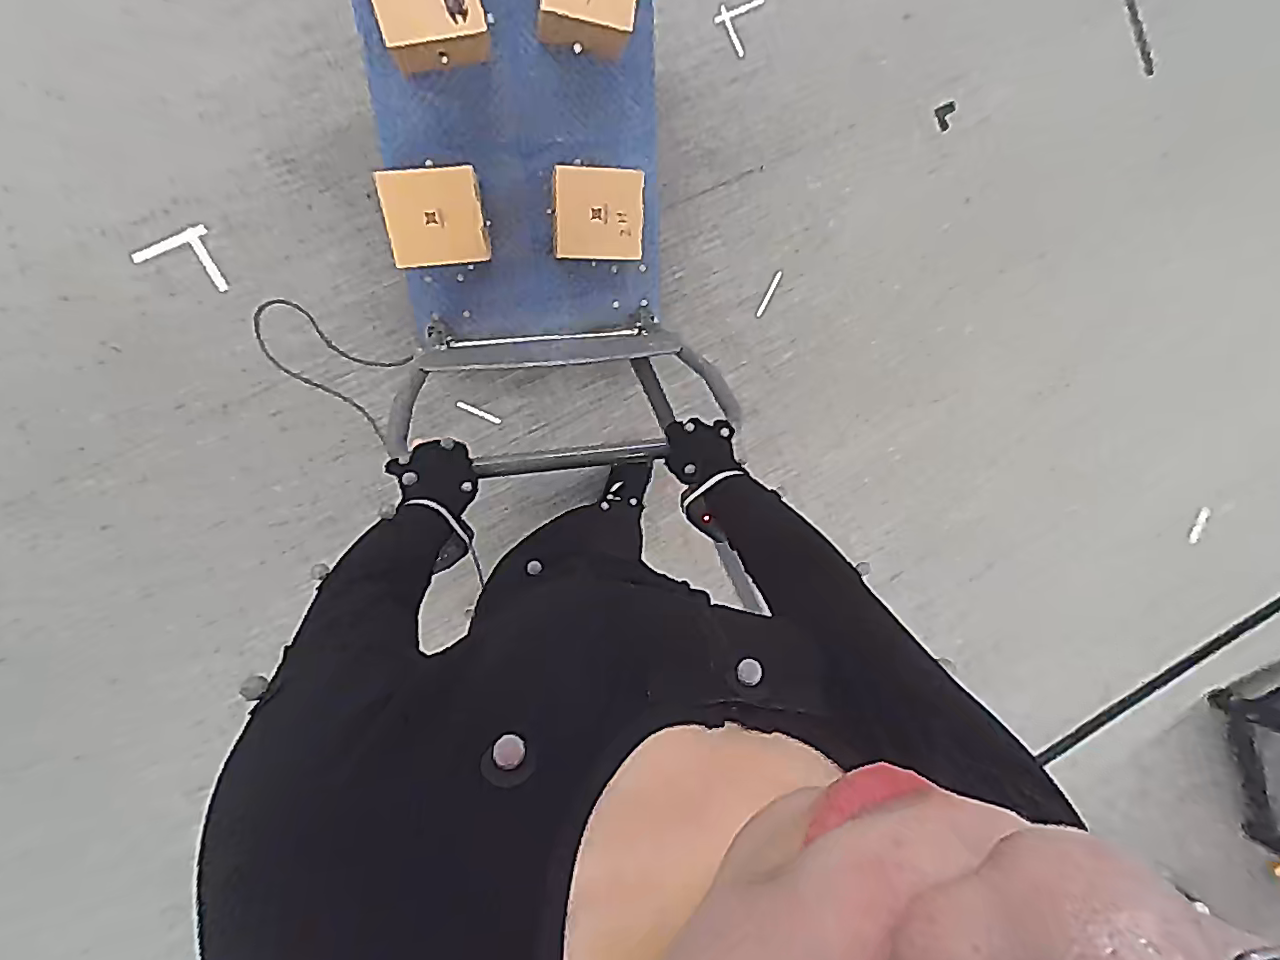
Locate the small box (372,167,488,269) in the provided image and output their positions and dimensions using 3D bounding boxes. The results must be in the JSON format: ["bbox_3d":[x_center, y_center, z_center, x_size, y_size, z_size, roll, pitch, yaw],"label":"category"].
[{"bbox_3d":[-0.410,-0.520,1.087,0.179,0.176,0.168,-10,114,-10],"label":"small box"}]

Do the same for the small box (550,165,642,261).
[{"bbox_3d":[-0.100,-0.556,1.143,0.179,0.176,0.168,-3,114,-12],"label":"small box"}]

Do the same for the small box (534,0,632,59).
[{"bbox_3d":[-0.103,-0.916,0.990,0.168,0.176,0.179,3,113,-14],"label":"small box"}]
